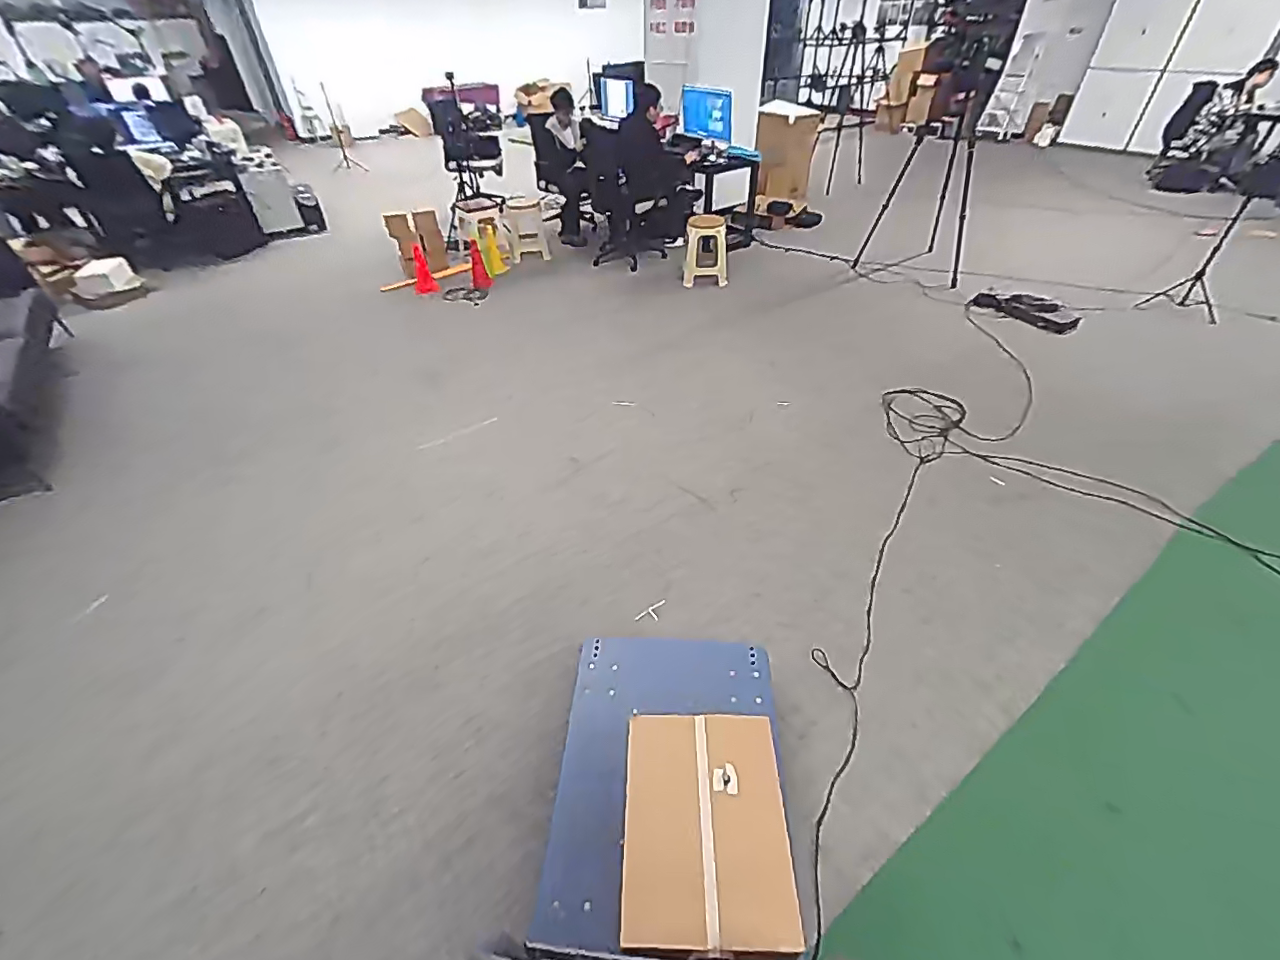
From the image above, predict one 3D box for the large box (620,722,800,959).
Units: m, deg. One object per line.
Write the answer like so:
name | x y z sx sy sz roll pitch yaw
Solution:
large box | 0.127 0.791 1.164 0.320 0.320 0.408 1 40 2
